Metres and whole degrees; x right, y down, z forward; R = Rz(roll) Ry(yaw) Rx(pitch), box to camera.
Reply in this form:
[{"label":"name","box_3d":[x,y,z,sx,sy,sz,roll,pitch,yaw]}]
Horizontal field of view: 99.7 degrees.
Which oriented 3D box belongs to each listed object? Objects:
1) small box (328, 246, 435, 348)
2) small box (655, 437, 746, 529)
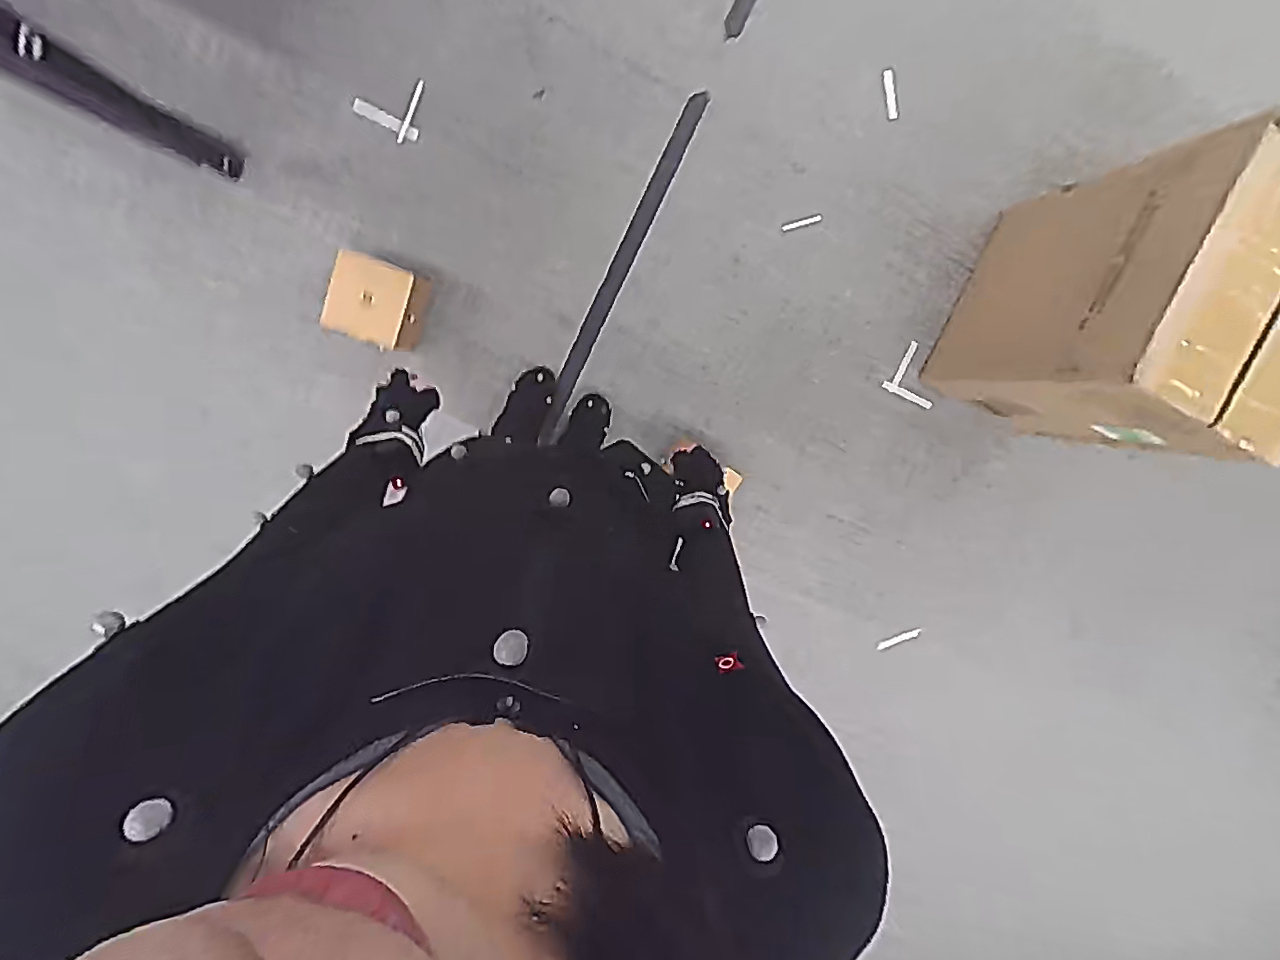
[{"label":"small box","box_3d":[-0.610,-0.427,1.297,0.168,0.176,0.179,18,97,-11]},{"label":"small box","box_3d":[0.156,0.001,1.476,0.168,0.176,0.179,34,96,-12]}]
